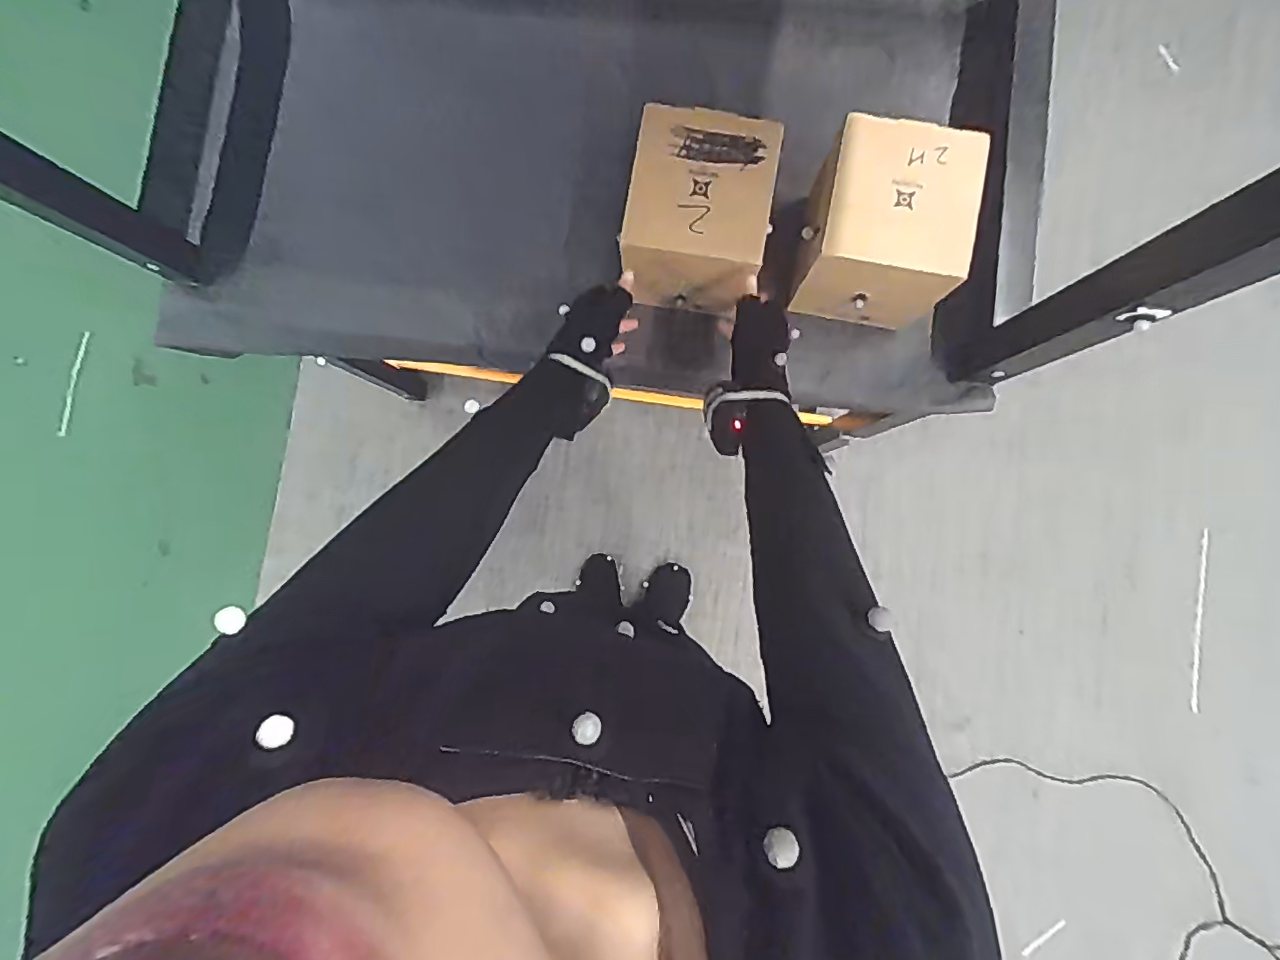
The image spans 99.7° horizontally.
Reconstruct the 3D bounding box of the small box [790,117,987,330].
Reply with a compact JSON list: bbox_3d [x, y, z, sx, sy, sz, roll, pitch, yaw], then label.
[{"bbox_3d":[0.301,-0.312,0.693,0.168,0.176,0.179,12,85,3],"label":"small box"}]
